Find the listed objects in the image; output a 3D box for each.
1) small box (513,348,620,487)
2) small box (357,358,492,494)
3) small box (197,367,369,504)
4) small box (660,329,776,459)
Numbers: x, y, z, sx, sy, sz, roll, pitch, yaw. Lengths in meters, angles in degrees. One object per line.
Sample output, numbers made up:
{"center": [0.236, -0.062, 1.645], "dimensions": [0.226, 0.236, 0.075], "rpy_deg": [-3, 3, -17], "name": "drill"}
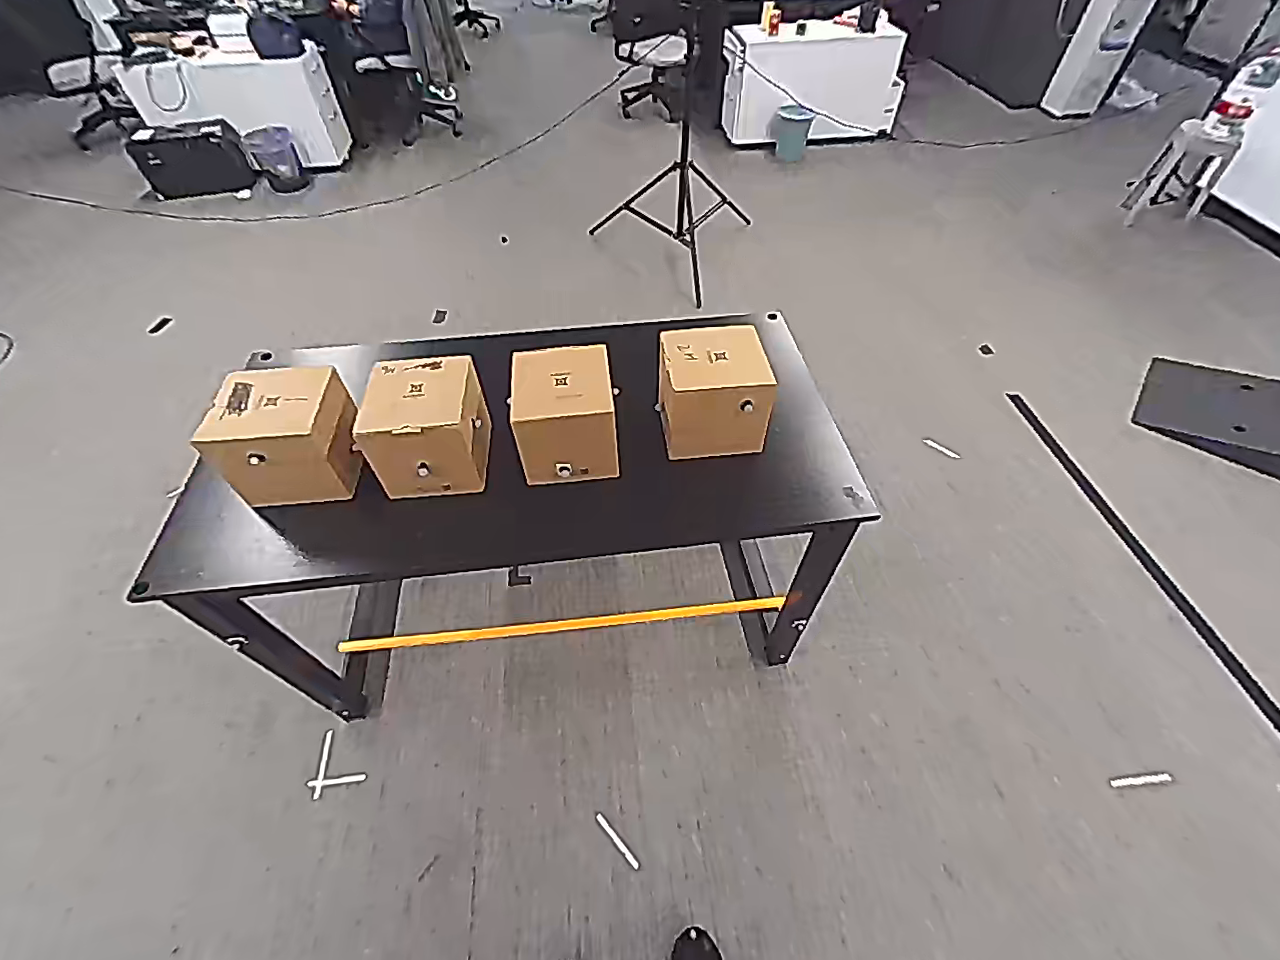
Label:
{"center": [-0.127, -0.110, 0.965], "dimensions": [0.168, 0.176, 0.179], "rpy_deg": [-7, 52, -4], "name": "small box"}
{"center": [-0.363, -0.088, 0.947], "dimensions": [0.168, 0.176, 0.179], "rpy_deg": [-5, 52, -3], "name": "small box"}
{"center": [-0.595, -0.073, 0.935], "dimensions": [0.179, 0.176, 0.168], "rpy_deg": [-5, 51, -4], "name": "small box"}
{"center": [0.132, -0.155, 0.995], "dimensions": [0.179, 0.176, 0.168], "rpy_deg": [-5, 51, -3], "name": "small box"}
